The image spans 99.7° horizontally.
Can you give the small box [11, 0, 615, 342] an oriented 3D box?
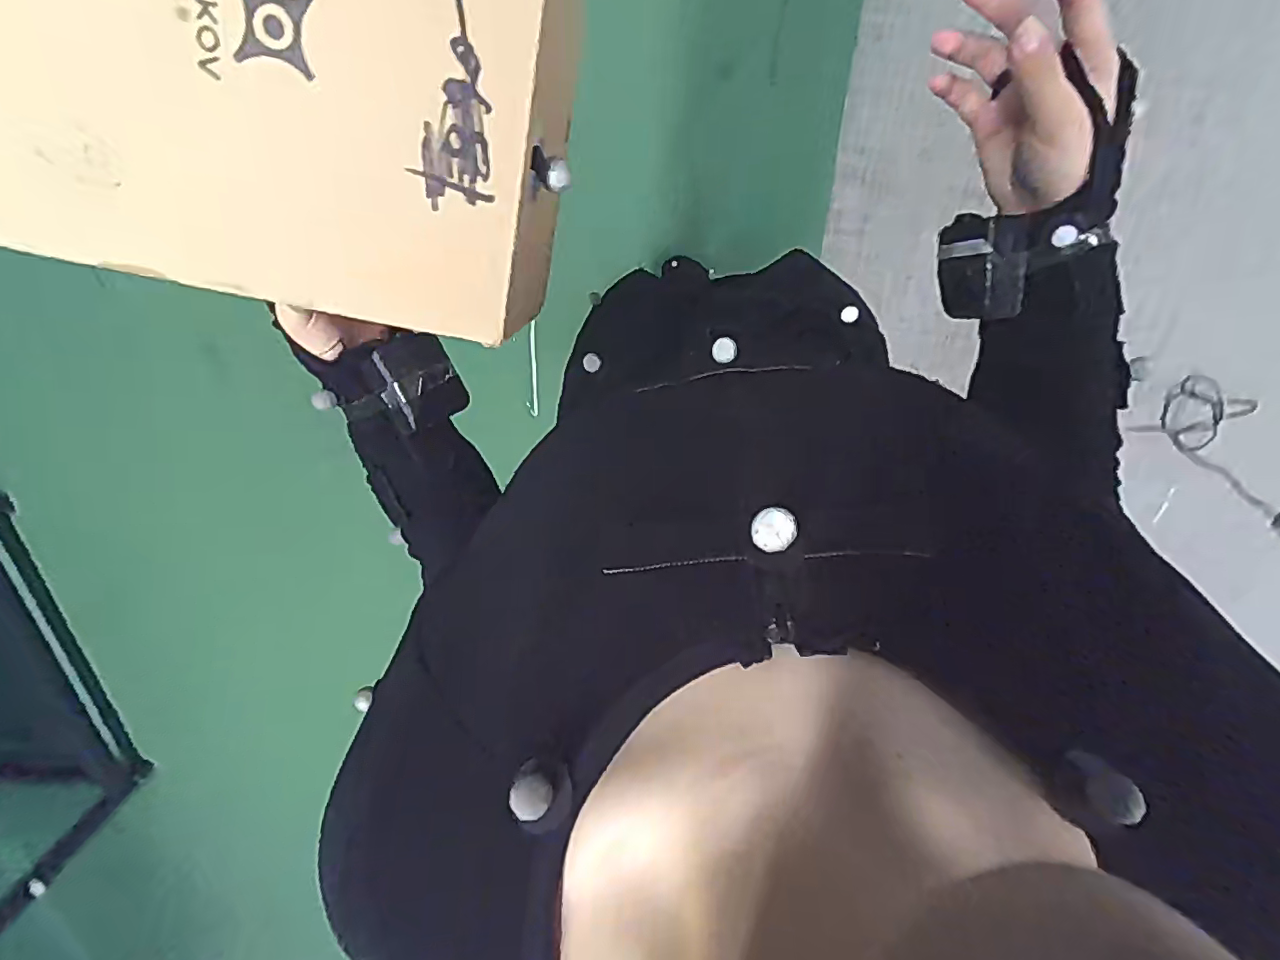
[{"bbox_3d":[-0.112,-0.172,0.248,0.179,0.176,0.168,11,111,-8],"label":"small box"}]
